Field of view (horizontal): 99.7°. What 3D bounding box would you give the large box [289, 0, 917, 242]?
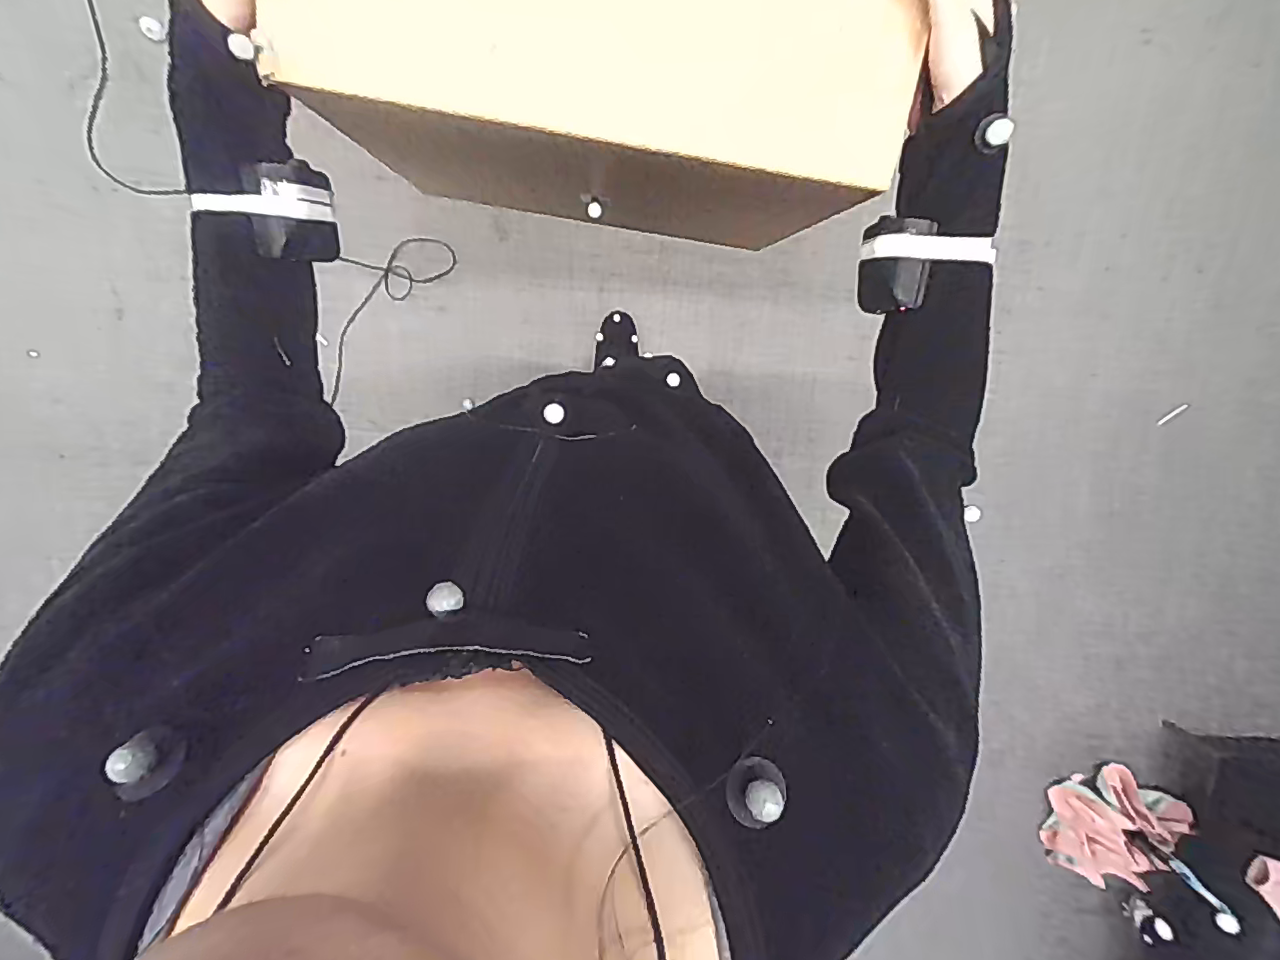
[{"bbox_3d":[-0.016,-0.414,0.469,0.408,0.320,0.320,7,105,-6],"label":"large box"}]
